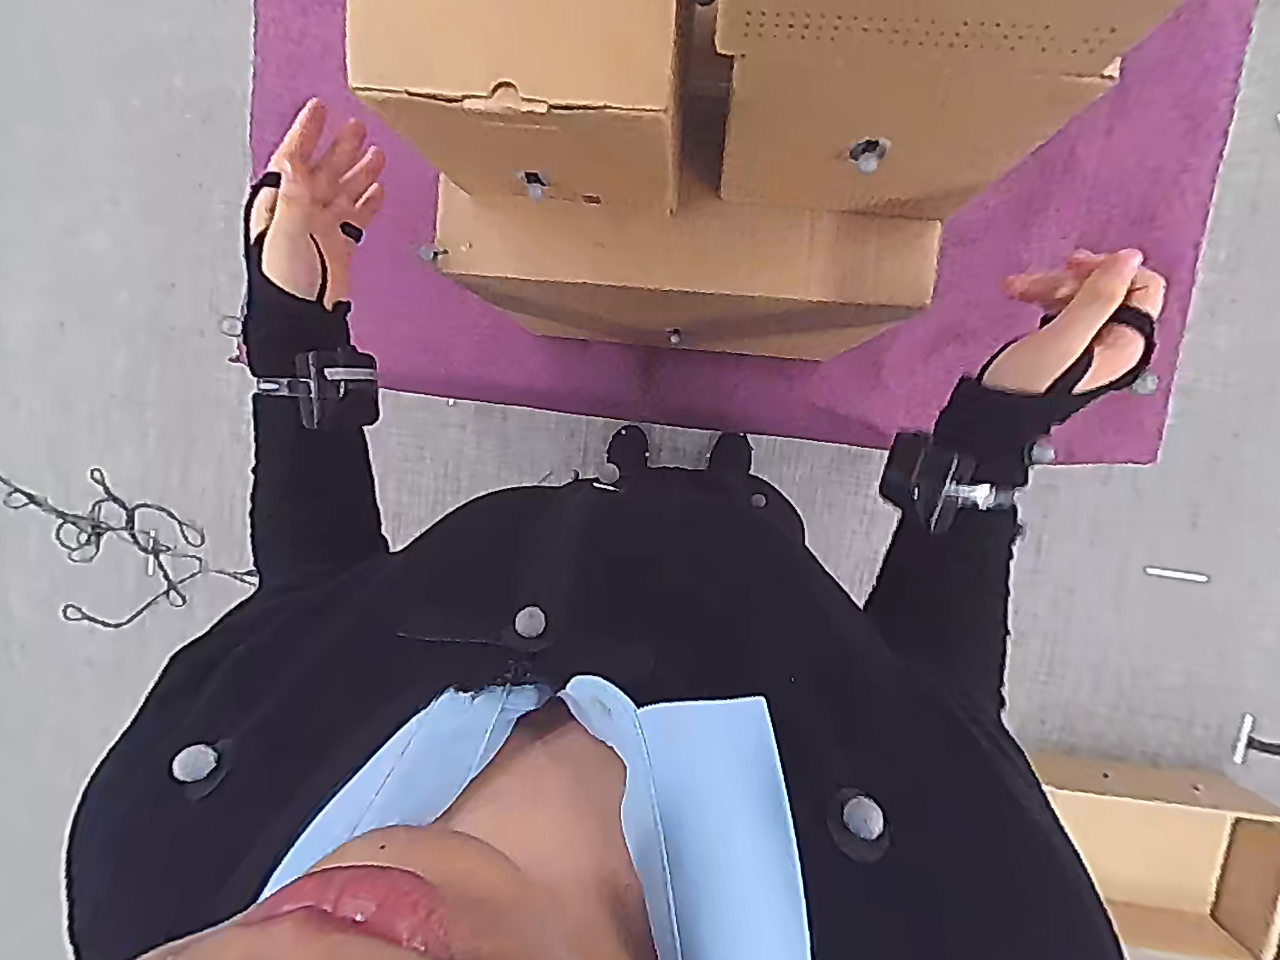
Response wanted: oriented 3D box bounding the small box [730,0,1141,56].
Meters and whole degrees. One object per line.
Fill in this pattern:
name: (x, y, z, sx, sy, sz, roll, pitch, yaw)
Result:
small box: (0.124, -0.266, 0.157, 0.179, 0.176, 0.168, 8, 96, 4)
